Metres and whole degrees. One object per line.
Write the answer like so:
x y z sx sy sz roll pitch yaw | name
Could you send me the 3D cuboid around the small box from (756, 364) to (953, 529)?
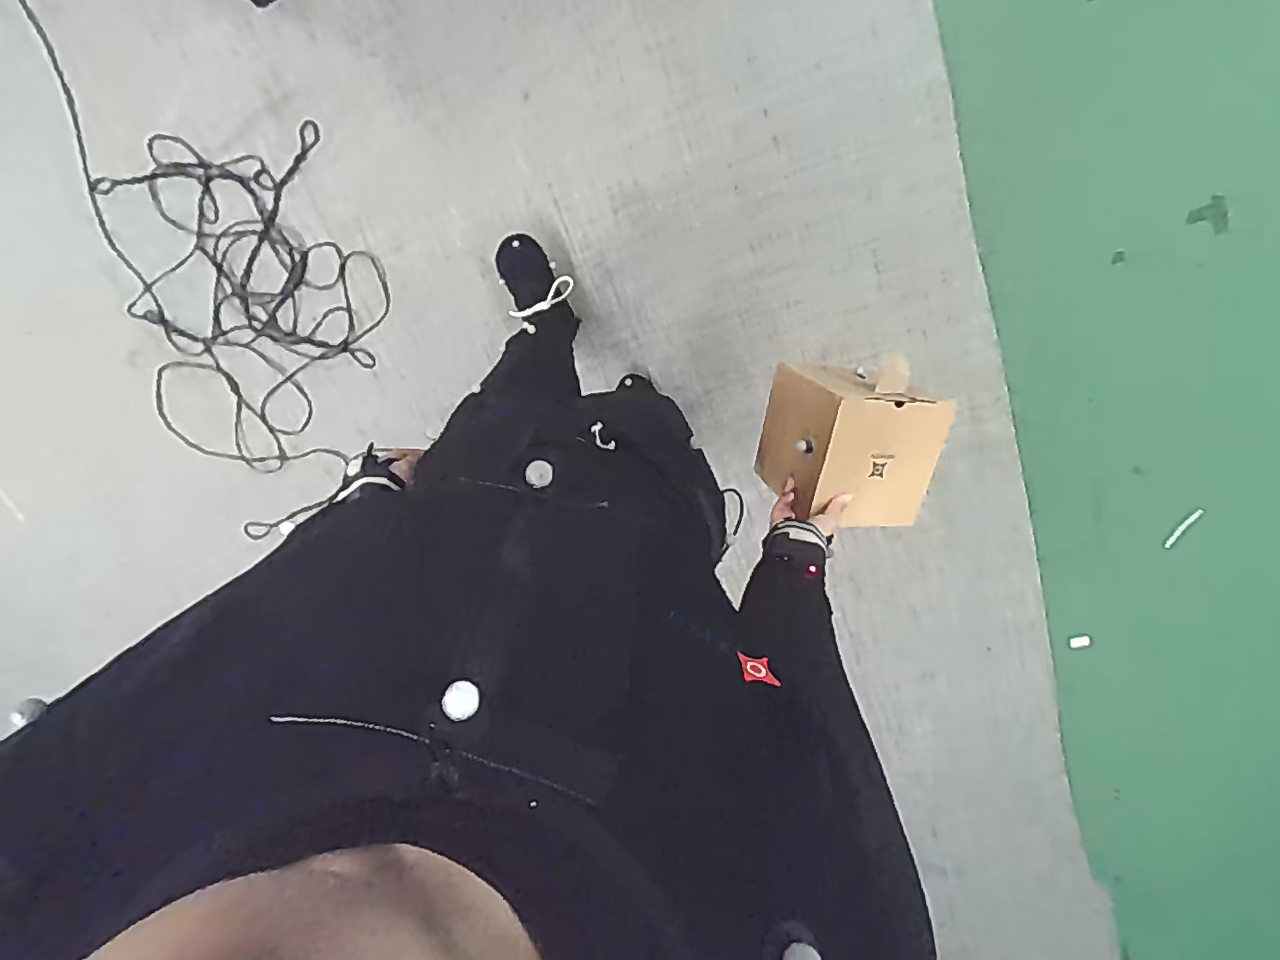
0.278 -0.049 0.746 0.168 0.176 0.179 2 114 -16 | small box
